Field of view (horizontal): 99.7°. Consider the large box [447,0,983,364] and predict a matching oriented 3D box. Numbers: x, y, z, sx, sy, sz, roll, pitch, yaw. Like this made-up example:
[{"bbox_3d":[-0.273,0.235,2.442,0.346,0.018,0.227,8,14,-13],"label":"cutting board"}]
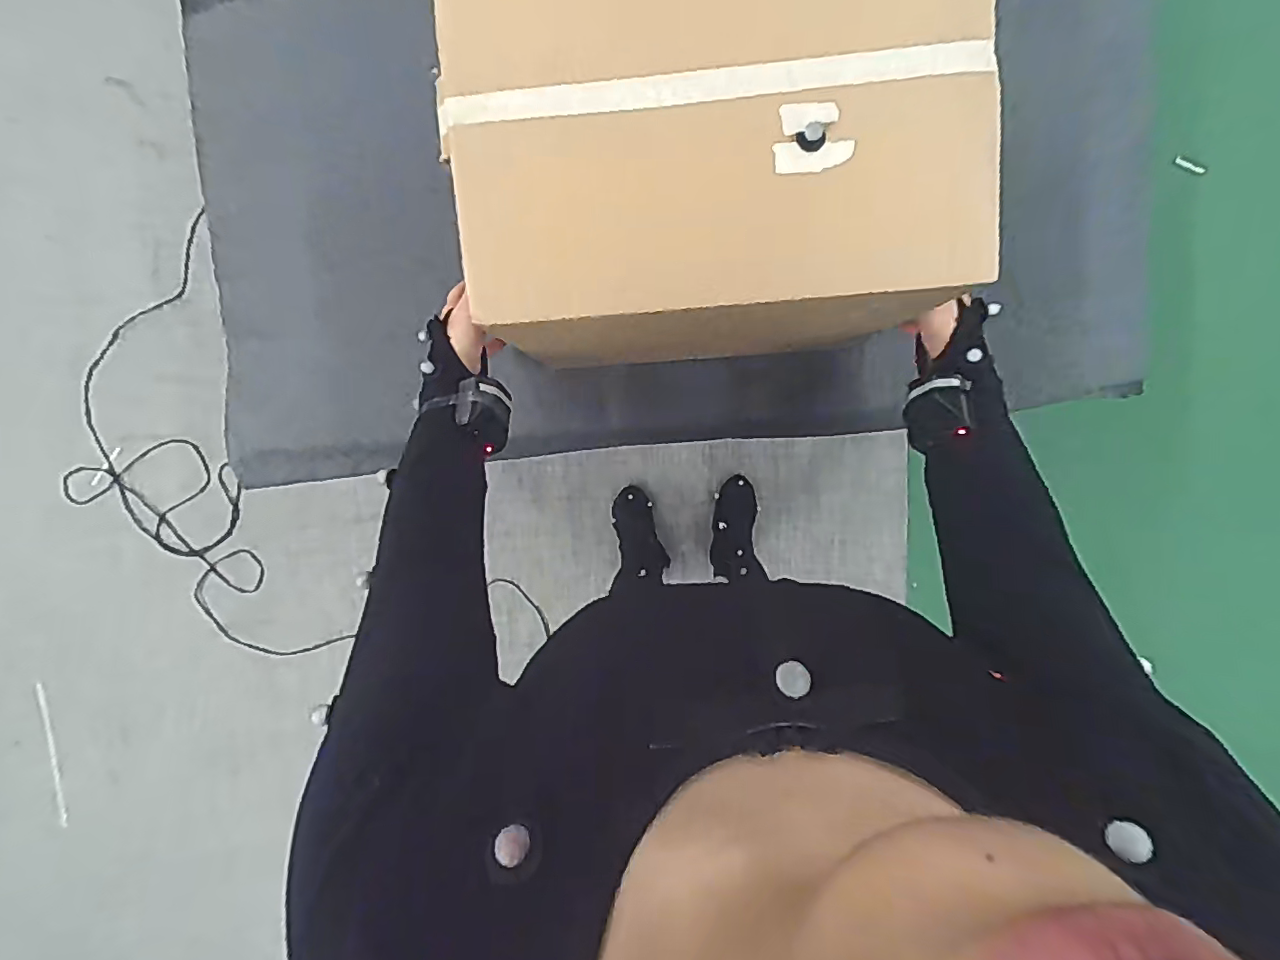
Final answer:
[{"bbox_3d":[0.059,-0.312,0.562,0.408,0.320,0.320,-4,96,2],"label":"large box"}]
